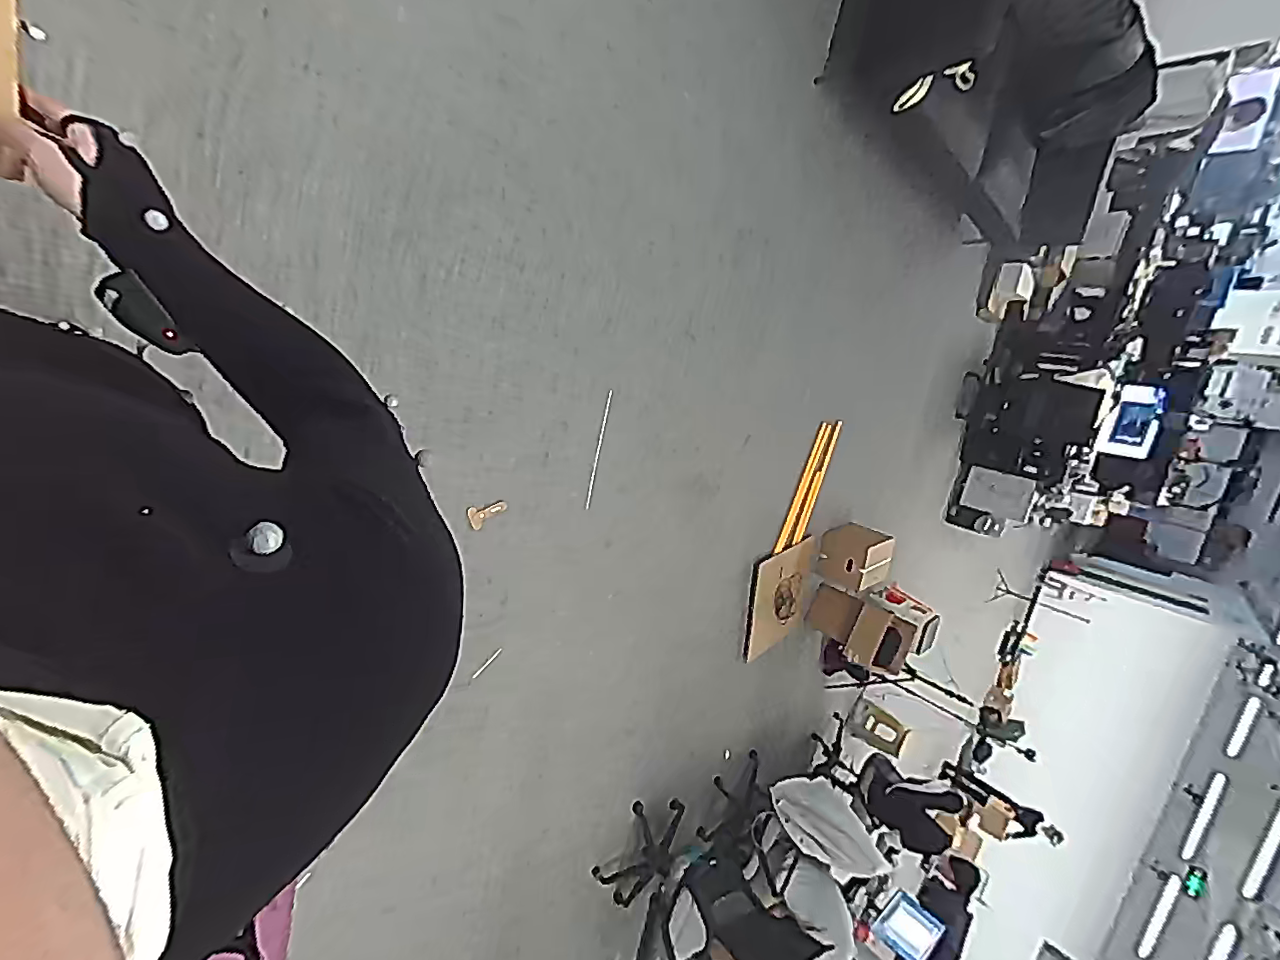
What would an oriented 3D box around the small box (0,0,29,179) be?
[{"bbox_3d":[-0.622,-0.368,0.437,0.168,0.176,0.179,-1,112,-48],"label":"small box"}]
